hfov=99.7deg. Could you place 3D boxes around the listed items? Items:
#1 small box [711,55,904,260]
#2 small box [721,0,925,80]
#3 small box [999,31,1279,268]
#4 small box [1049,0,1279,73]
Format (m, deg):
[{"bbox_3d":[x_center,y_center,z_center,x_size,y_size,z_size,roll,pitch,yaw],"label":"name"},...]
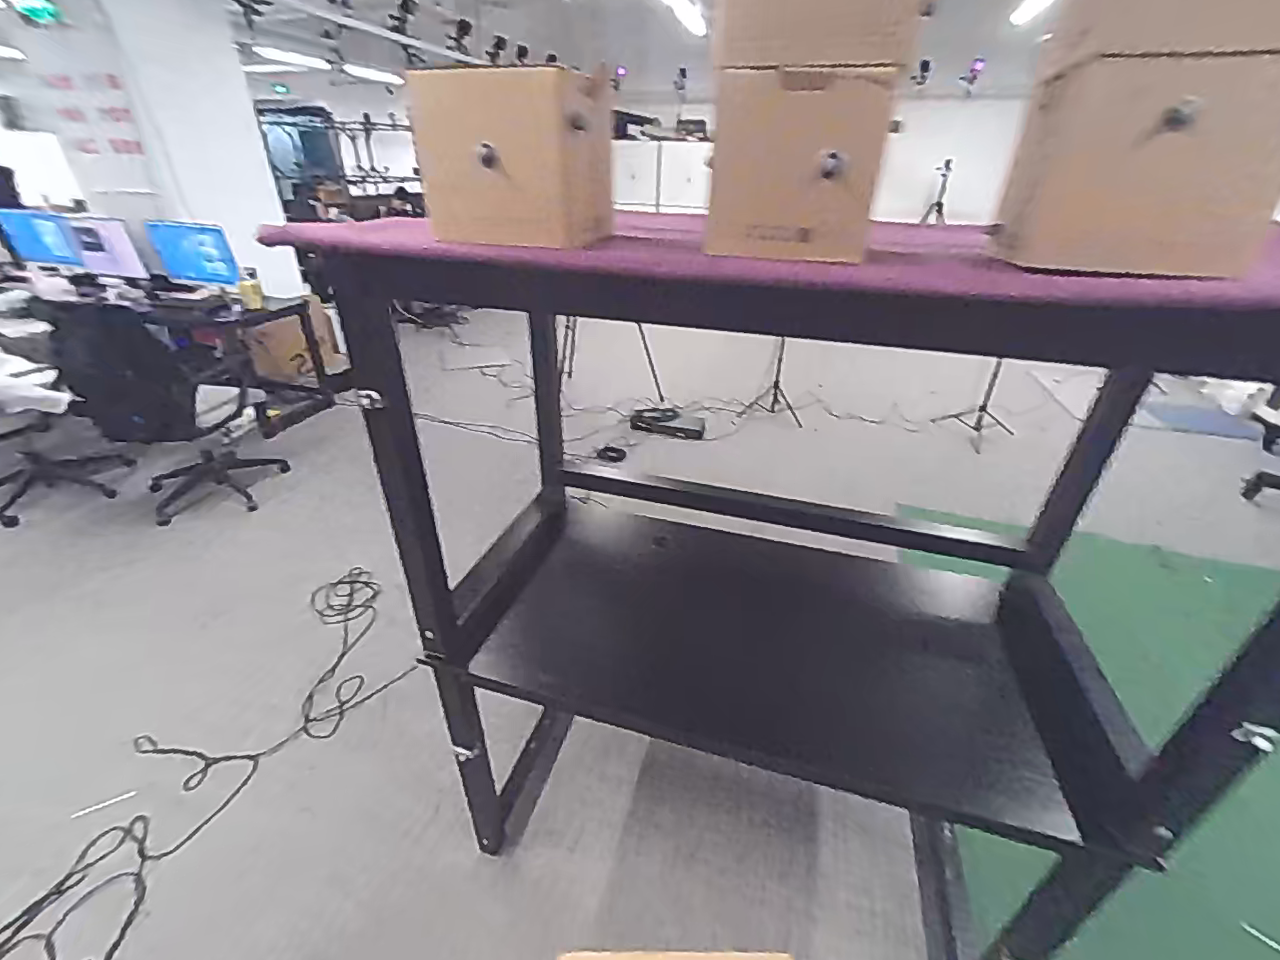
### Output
[{"bbox_3d":[0.177,-0.343,0.593,0.168,0.176,0.179,11,31,15],"label":"small box"},{"bbox_3d":[0.180,-0.487,0.511,0.179,0.176,0.168,11,32,16],"label":"small box"},{"bbox_3d":[0.479,-0.302,0.523,0.179,0.176,0.168,9,29,14],"label":"small box"},{"bbox_3d":[0.482,-0.448,0.452,0.179,0.176,0.168,9,29,14],"label":"small box"}]
